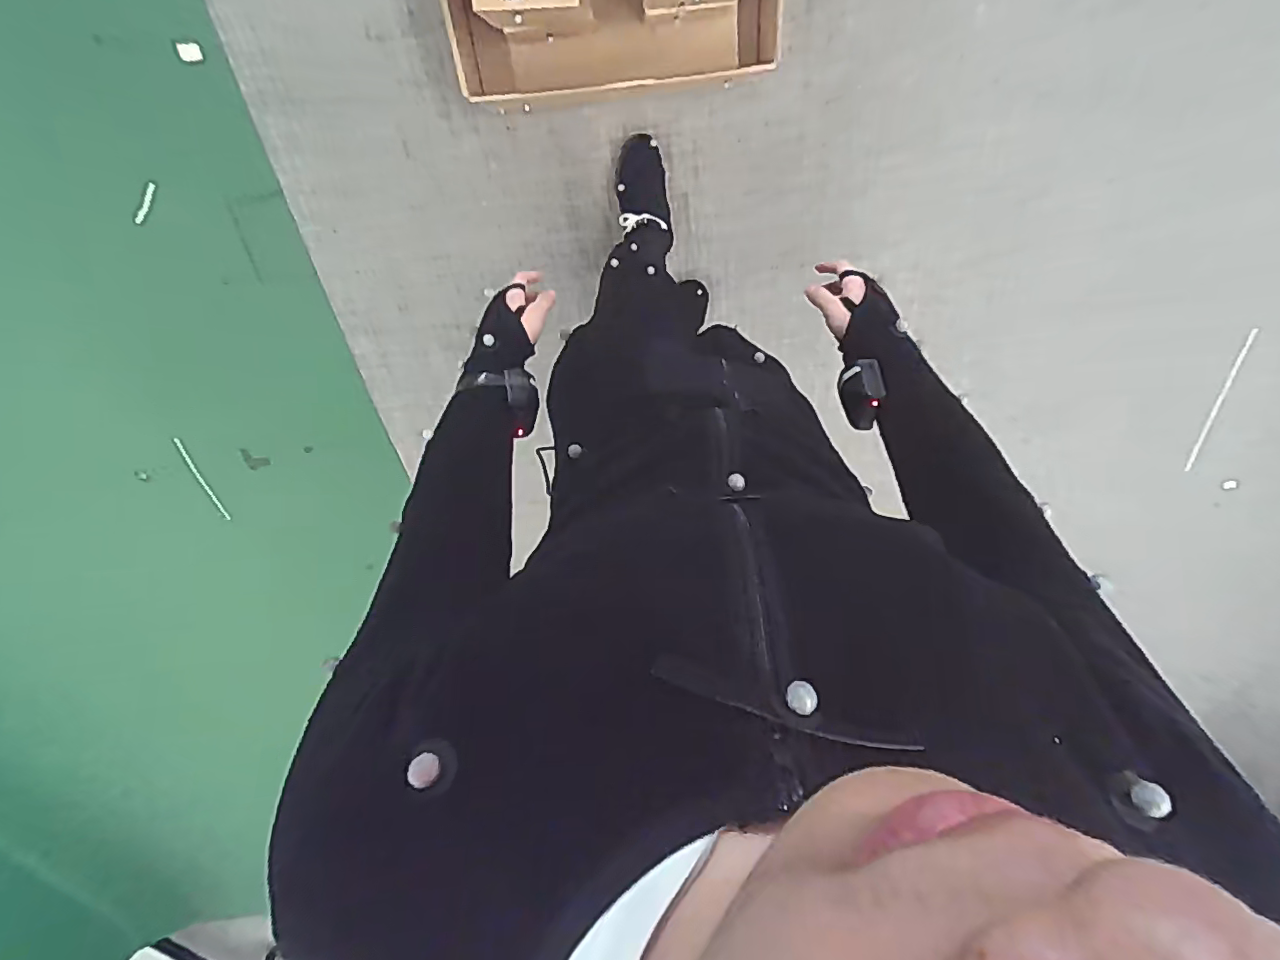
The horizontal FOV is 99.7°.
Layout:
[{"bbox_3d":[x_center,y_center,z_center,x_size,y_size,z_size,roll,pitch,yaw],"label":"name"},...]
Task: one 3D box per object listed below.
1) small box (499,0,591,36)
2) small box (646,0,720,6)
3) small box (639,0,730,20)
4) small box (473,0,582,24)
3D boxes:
[{"bbox_3d":[-0.184,-0.939,0.991,0.168,0.176,0.179,-8,124,1],"label":"small box"},{"bbox_3d":[0.077,-0.879,0.847,0.168,0.176,0.179,-3,124,2],"label":"small box"},{"bbox_3d":[0.076,-0.965,0.986,0.168,0.176,0.179,-6,124,2],"label":"small box"},{"bbox_3d":[-0.183,-0.850,0.852,0.168,0.176,0.179,-2,123,0],"label":"small box"}]
